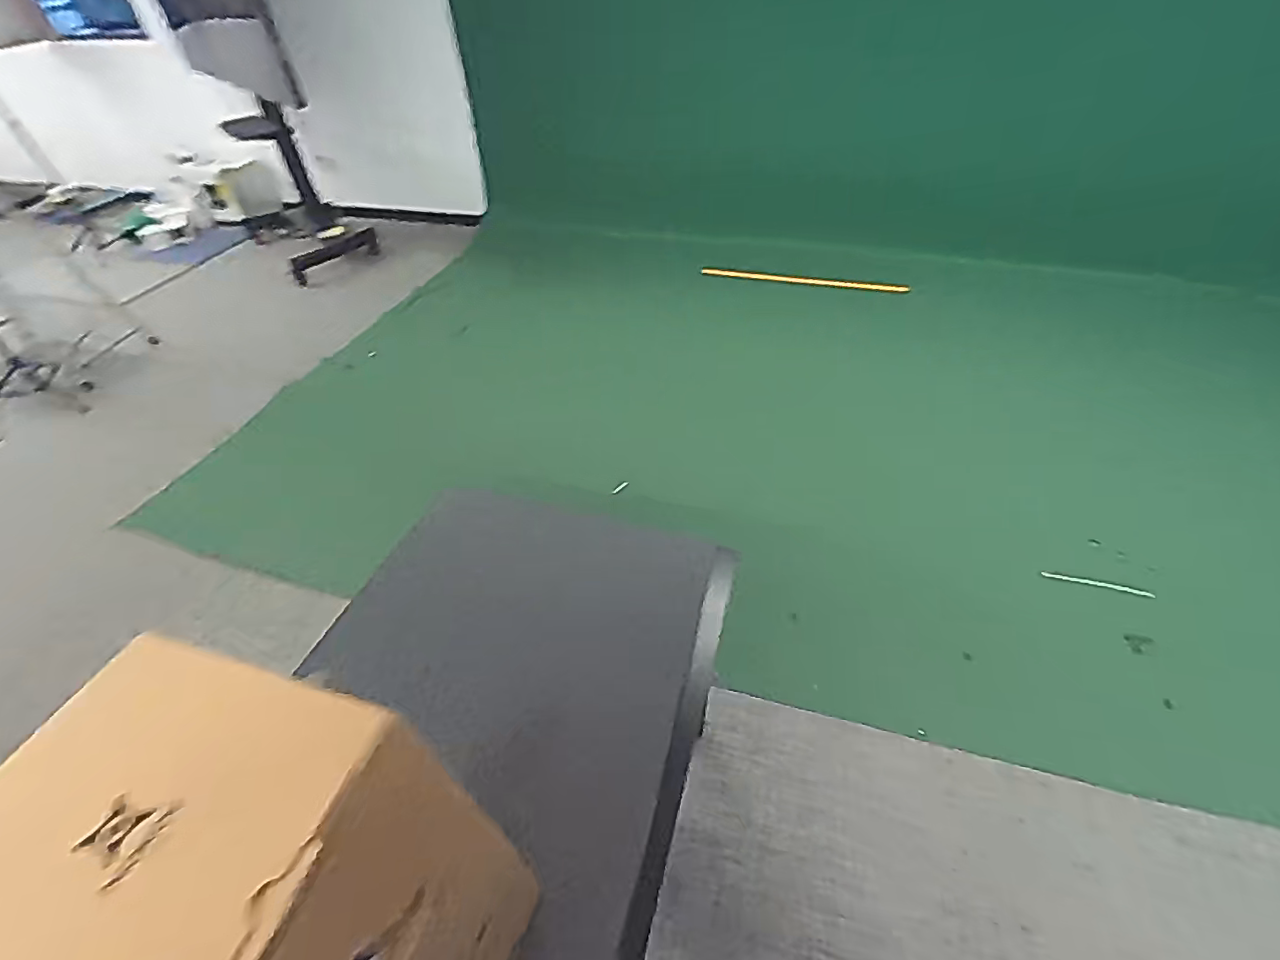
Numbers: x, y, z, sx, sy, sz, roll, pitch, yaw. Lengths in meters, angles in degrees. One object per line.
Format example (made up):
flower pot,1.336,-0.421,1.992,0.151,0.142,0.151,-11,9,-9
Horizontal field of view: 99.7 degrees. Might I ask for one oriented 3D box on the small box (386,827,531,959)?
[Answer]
small box,-0.228,0.438,0.523,0.179,0.176,0.168,12,46,15
